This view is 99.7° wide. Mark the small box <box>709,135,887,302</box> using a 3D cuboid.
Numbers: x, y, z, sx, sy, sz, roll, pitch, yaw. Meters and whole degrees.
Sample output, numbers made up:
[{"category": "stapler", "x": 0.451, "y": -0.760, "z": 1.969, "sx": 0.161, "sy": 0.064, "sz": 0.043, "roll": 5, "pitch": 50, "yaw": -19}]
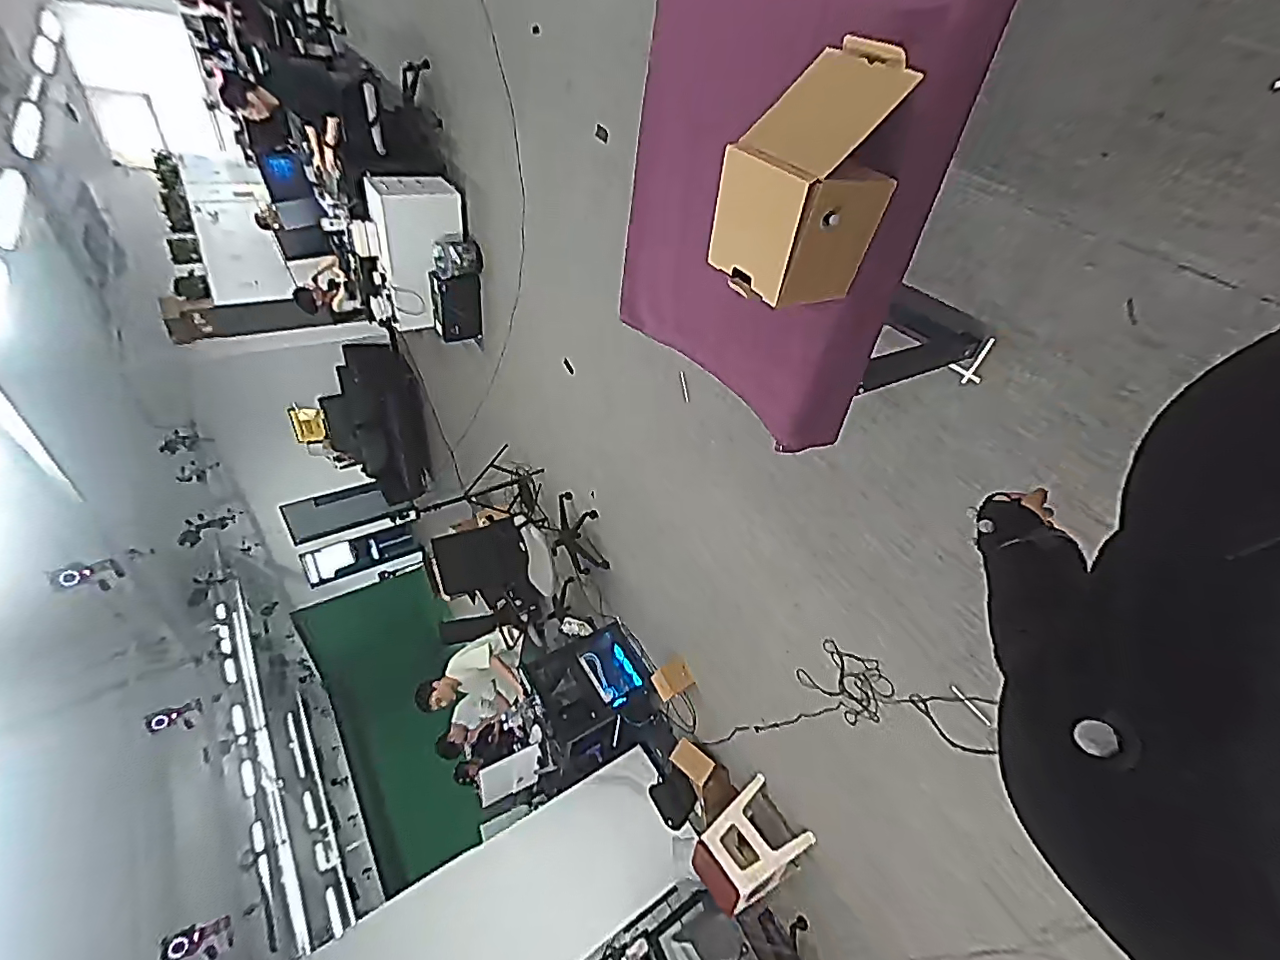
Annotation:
[{"category": "small box", "x": 0.236, "y": -0.396, "z": 0.816, "sx": 0.168, "sy": 0.176, "sz": 0.179, "roll": 50, "pitch": 144, "yaw": 33}]
